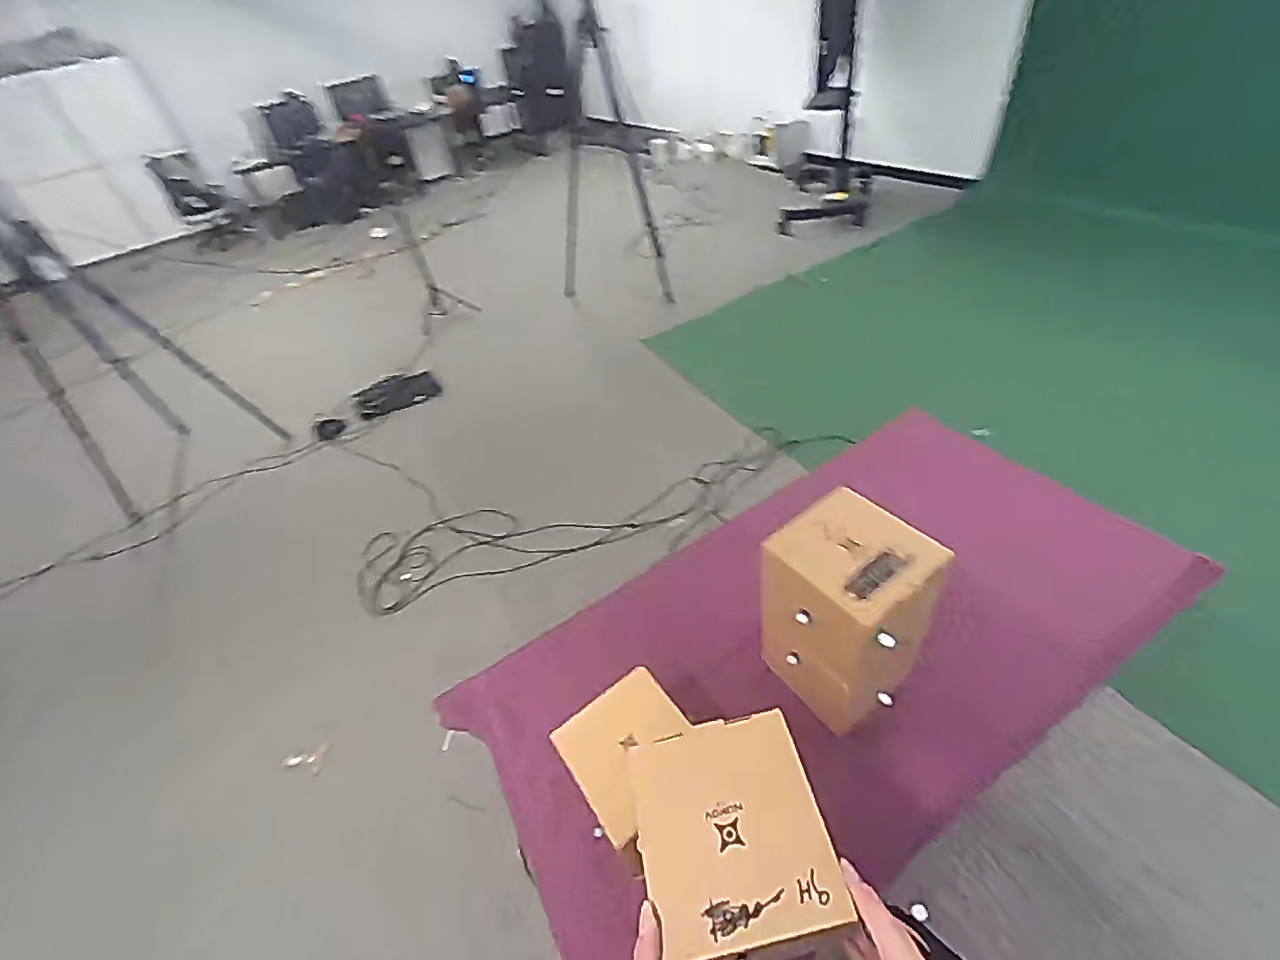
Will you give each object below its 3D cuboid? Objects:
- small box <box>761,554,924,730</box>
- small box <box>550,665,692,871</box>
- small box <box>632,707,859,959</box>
[{"bbox_3d":[0.314,0.260,0.871,0.168,0.176,0.179,-30,45,-18],"label":"small box"},{"bbox_3d":[-0.004,0.416,0.783,0.168,0.176,0.179,-32,47,-20],"label":"small box"},{"bbox_3d":[0.095,0.360,0.537,0.168,0.176,0.179,-14,43,1],"label":"small box"}]
